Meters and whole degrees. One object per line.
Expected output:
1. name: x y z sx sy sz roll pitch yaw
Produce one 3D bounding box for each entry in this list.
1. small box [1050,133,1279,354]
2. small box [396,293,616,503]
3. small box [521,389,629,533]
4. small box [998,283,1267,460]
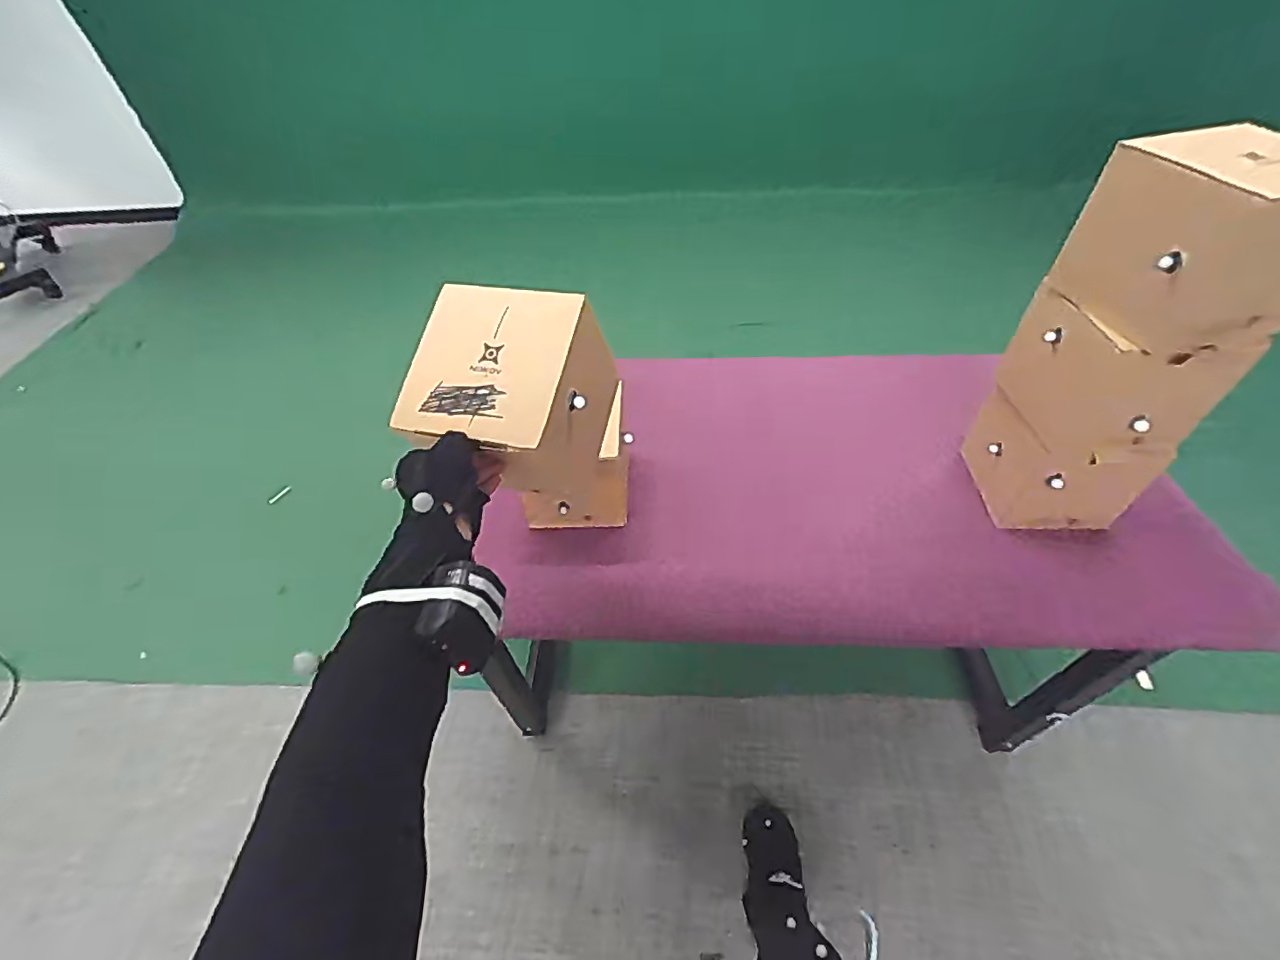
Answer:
1. small box: 0.621 -0.255 0.599 0.168 0.176 0.179 -11 48 -6
2. small box: -0.135 -0.085 0.619 0.168 0.176 0.179 9 73 14
3. small box: -0.107 -0.031 0.896 0.168 0.176 0.179 -1 50 2
4. small box: 0.624 -0.147 0.721 0.168 0.176 0.179 -3 49 2
